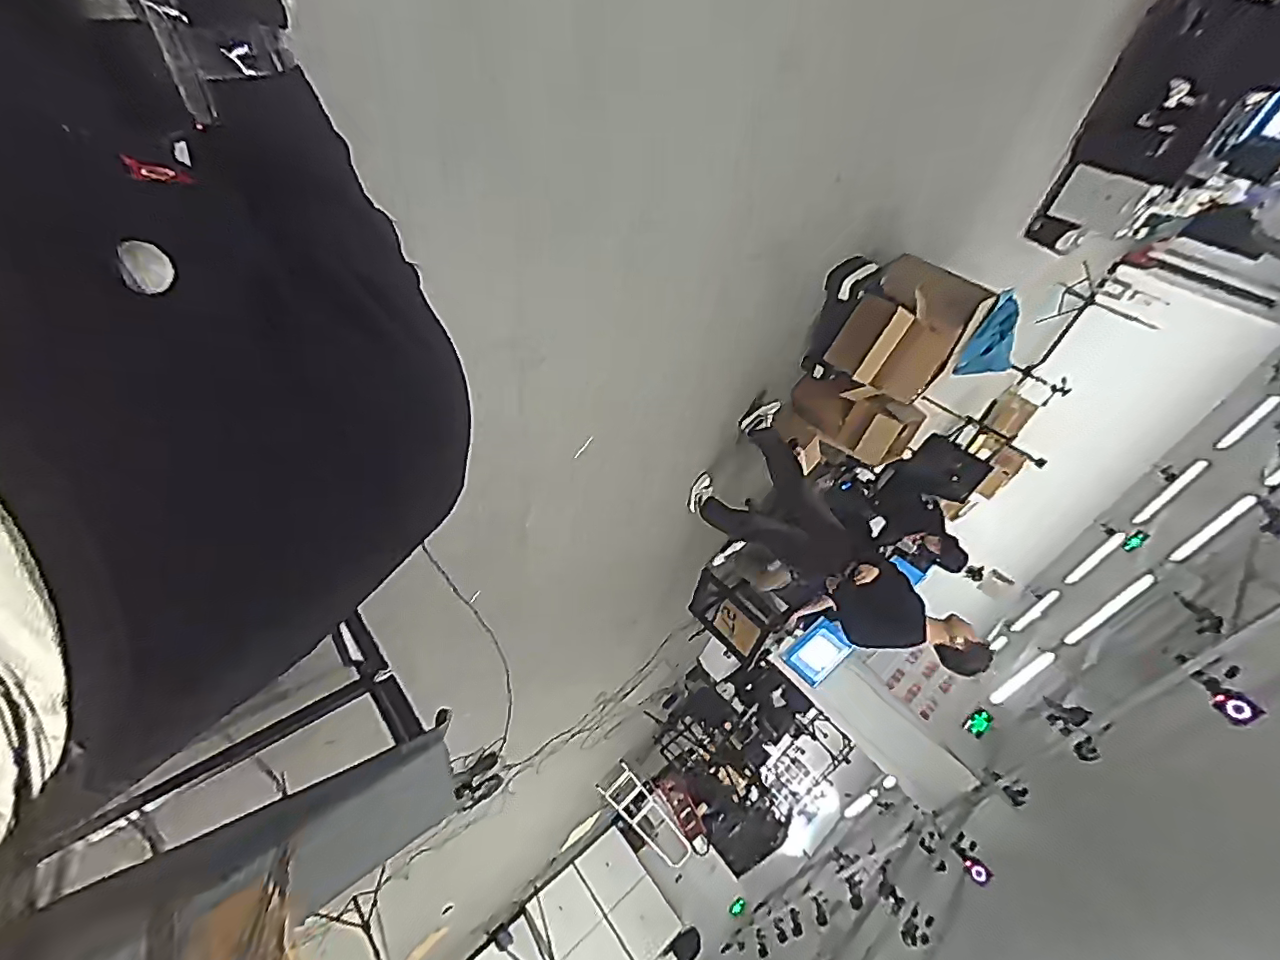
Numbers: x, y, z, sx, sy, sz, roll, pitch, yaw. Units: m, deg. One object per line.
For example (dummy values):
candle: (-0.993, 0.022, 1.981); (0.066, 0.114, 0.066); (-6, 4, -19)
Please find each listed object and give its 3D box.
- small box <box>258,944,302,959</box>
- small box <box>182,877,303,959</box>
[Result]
small box: (-0.854, 1.212, 1.232); (0.168, 0.176, 0.179); (-26, 144, -36)
small box: (-0.958, 1.114, 1.308); (0.179, 0.176, 0.168); (-25, 144, -34)
